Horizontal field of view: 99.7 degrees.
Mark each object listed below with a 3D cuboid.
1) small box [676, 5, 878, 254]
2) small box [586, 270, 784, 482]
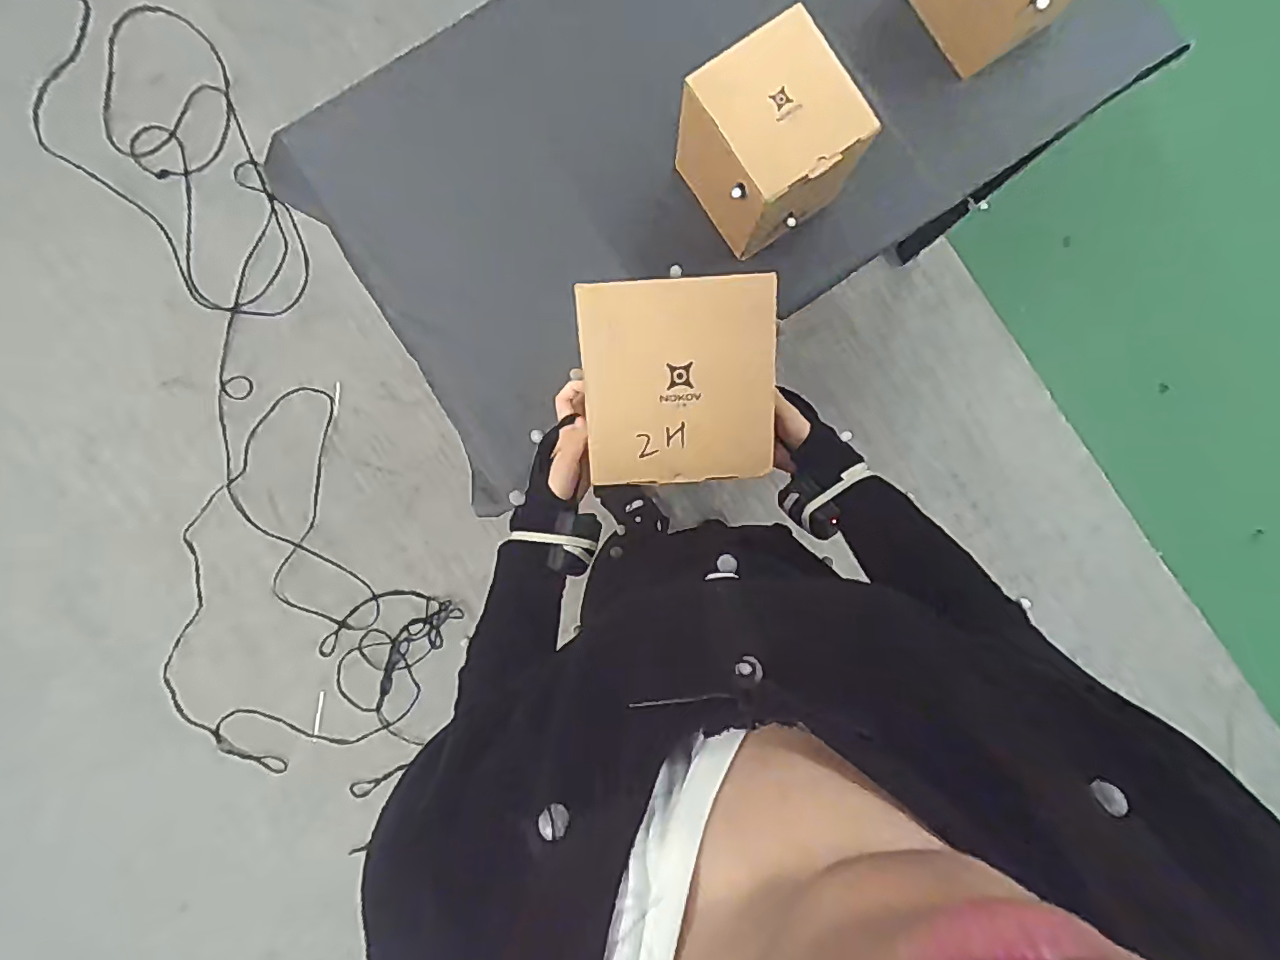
[{"bbox_3d":[0.162,-0.437,0.706,0.168,0.176,0.179,-34,91,-1],"label":"small box"},{"bbox_3d":[0.036,-0.105,0.534,0.168,0.176,0.179,-2,107,0],"label":"small box"}]
